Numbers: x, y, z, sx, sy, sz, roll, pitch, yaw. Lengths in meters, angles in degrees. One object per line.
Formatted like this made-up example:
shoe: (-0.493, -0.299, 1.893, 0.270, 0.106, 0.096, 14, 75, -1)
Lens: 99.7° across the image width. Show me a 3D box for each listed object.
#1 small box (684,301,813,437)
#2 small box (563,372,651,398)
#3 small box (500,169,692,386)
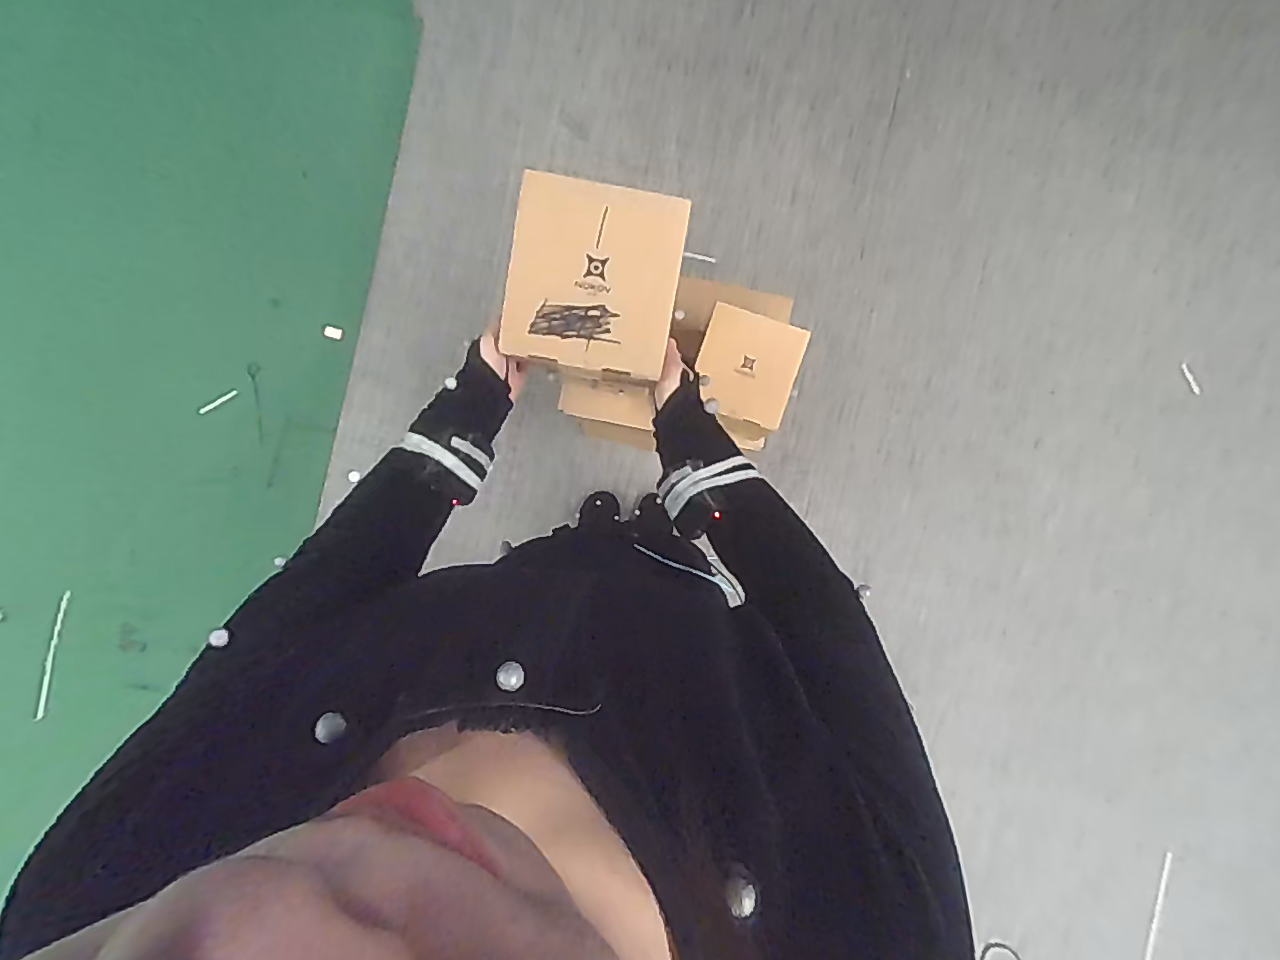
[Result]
small box: (0.181, -0.188, 0.964, 0.168, 0.176, 0.179, 19, 91, 2)
small box: (-0.044, -0.254, 0.966, 0.168, 0.176, 0.179, 14, 91, -2)
small box: (-0.043, -0.205, 0.600, 0.168, 0.176, 0.179, 10, 96, -1)
